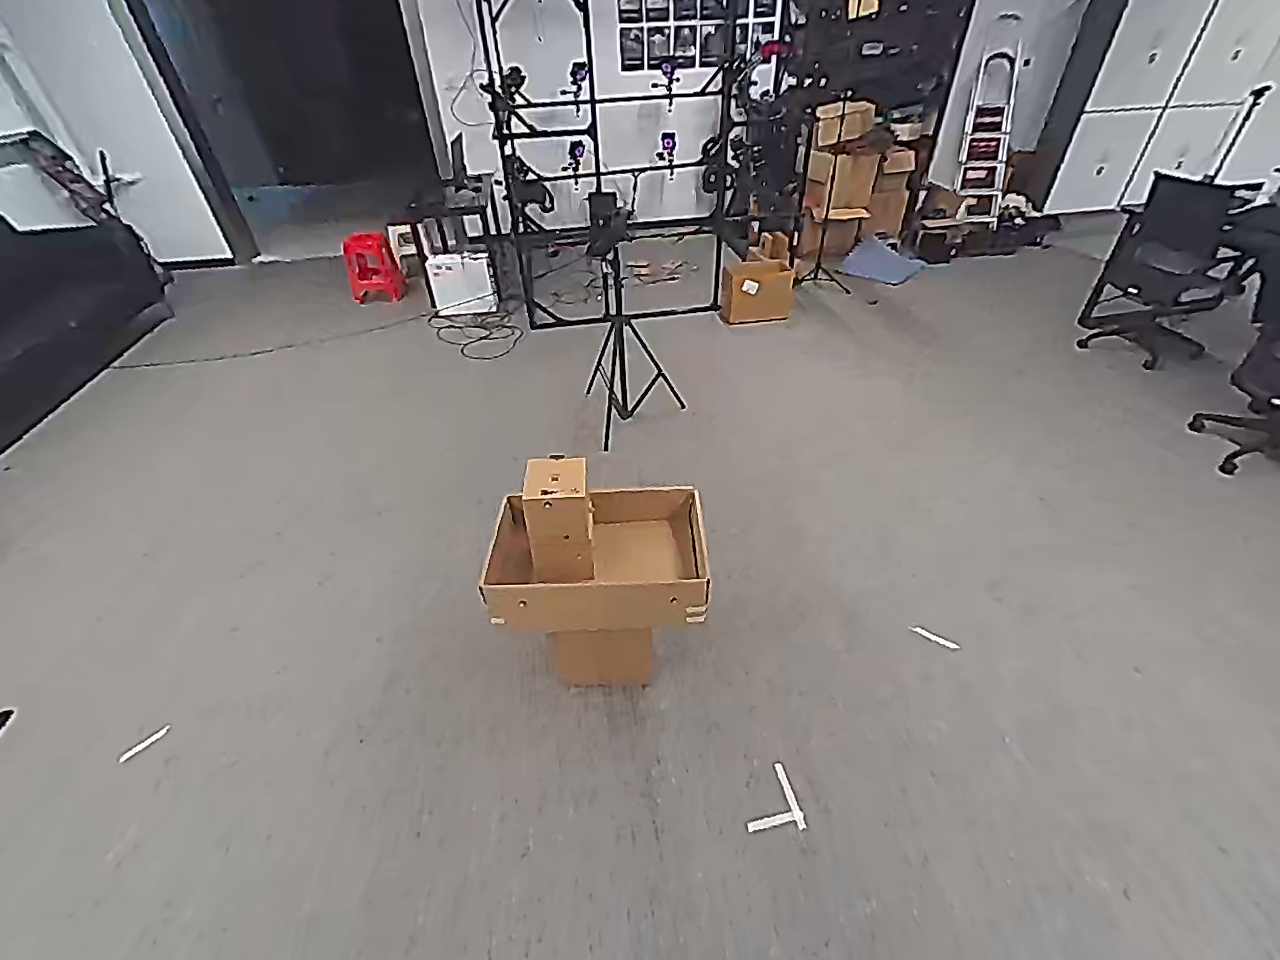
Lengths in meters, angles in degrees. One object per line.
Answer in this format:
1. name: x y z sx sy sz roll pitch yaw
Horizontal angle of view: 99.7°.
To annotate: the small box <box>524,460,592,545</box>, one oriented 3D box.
1. small box: -0.224 0.063 1.514 0.168 0.176 0.179 -3 38 -3
